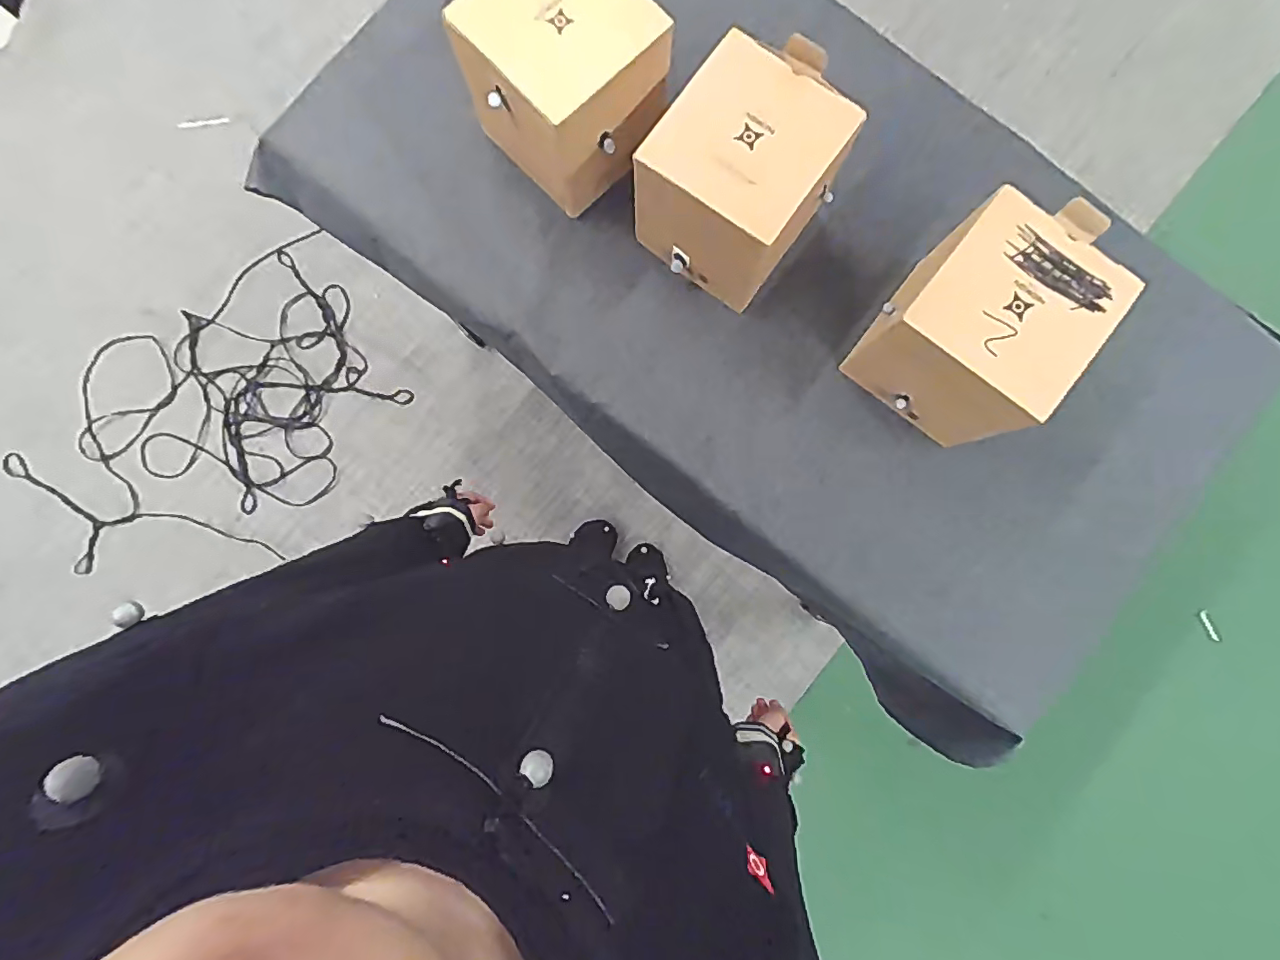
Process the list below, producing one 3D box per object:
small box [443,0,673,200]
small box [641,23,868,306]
[{"bbox_3d":[-0.082,-0.461,0.619,0.168,0.176,0.179,-44,87,-4],"label":"small box"},{"bbox_3d":[0.112,-0.336,0.611,0.168,0.176,0.179,35,86,4],"label":"small box"}]
